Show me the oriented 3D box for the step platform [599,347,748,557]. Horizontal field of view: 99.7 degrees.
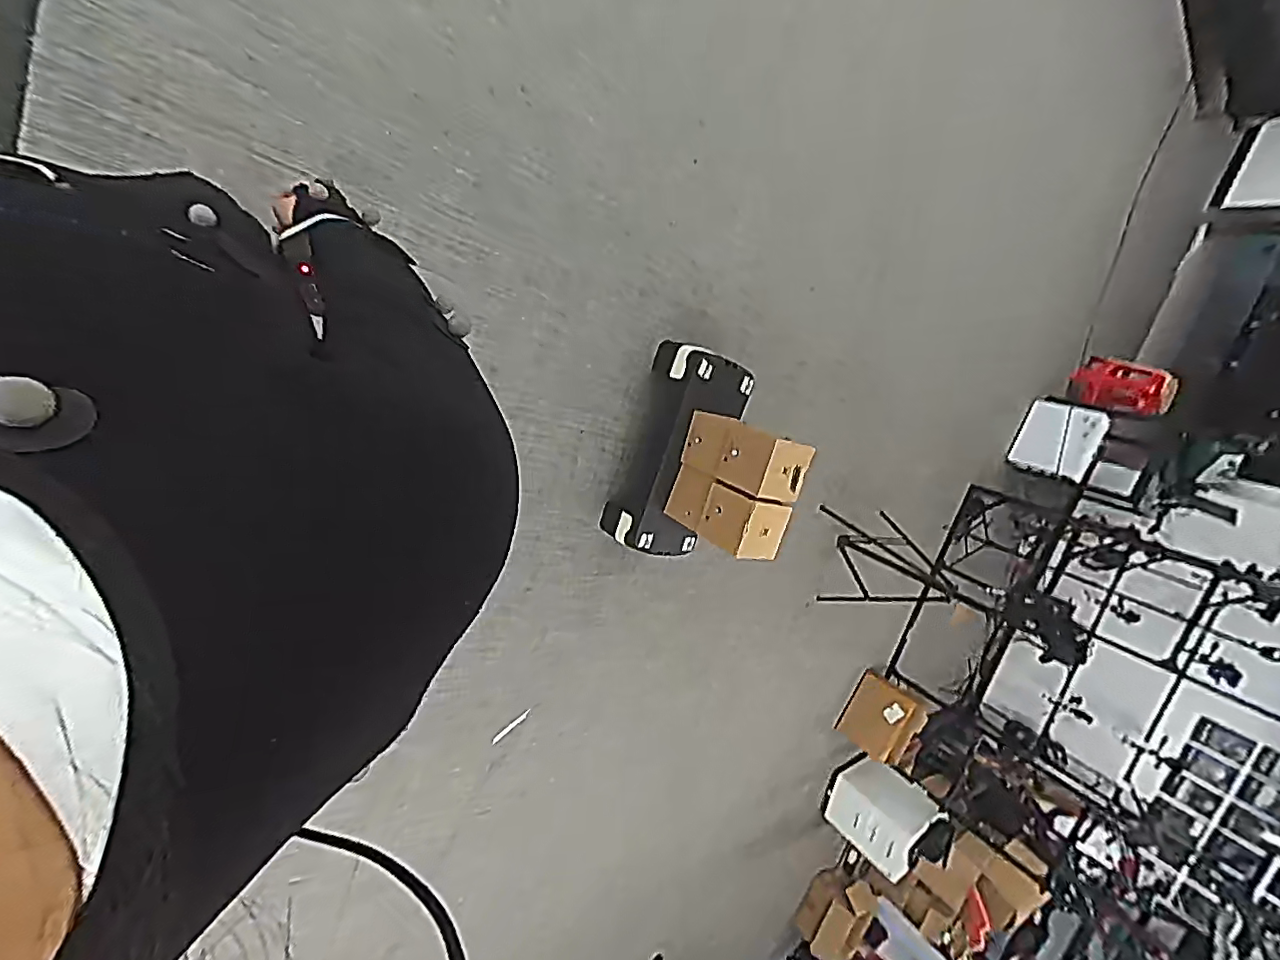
[{"bbox_3d":[0.115,-0.080,1.810,0.286,0.204,0.684,10,102,-42],"label":"step platform"}]
